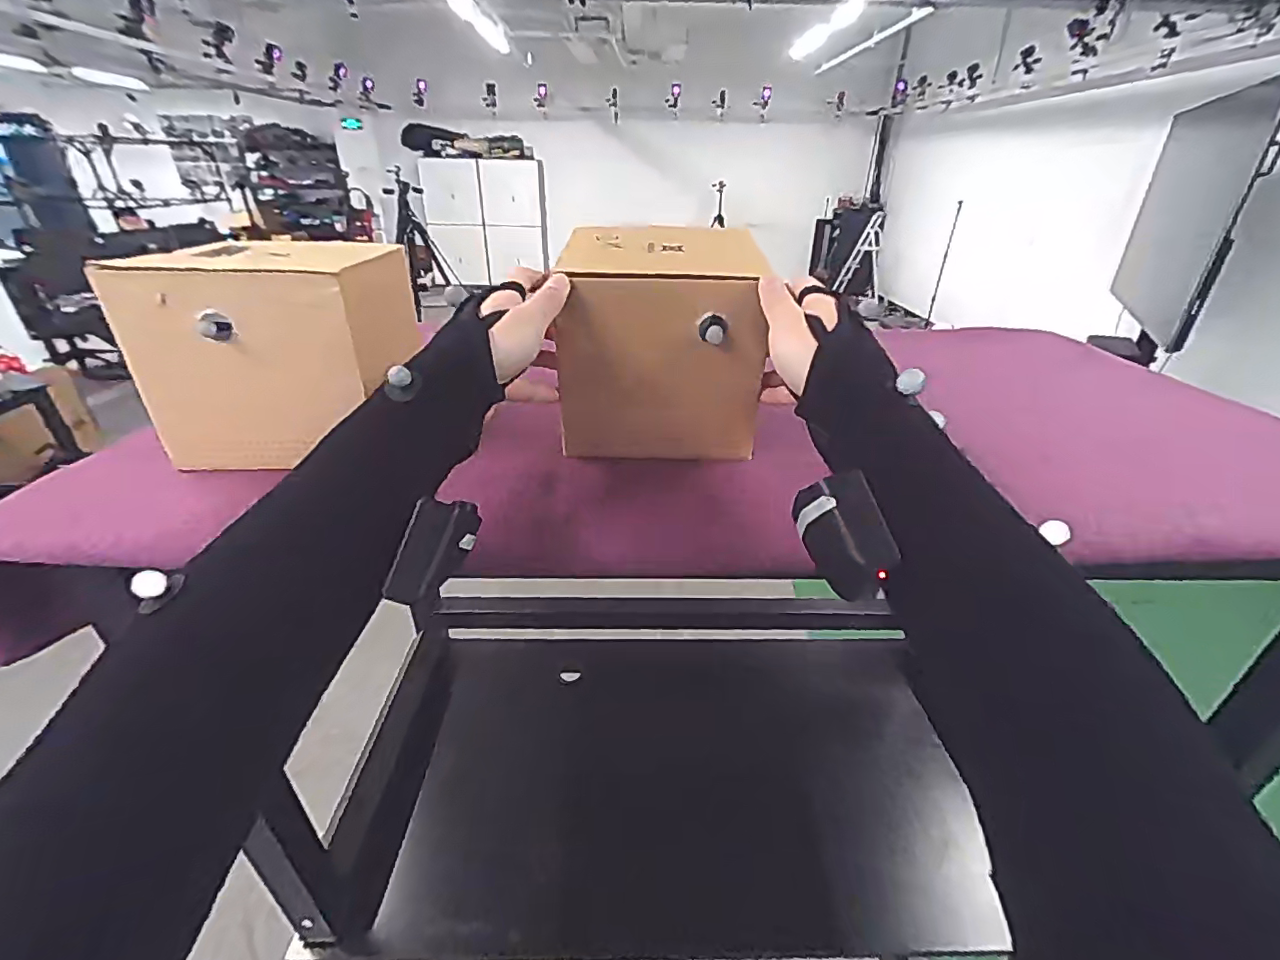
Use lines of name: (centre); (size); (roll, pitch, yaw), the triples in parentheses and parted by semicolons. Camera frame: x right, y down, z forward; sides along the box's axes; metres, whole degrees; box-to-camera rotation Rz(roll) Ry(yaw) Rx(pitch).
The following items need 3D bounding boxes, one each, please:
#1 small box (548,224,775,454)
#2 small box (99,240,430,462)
small box: (0.017, -0.136, 0.521); (0.179, 0.176, 0.168); (1, 35, 1)
small box: (-0.316, -0.125, 0.505); (0.179, 0.176, 0.168); (0, 29, -4)
